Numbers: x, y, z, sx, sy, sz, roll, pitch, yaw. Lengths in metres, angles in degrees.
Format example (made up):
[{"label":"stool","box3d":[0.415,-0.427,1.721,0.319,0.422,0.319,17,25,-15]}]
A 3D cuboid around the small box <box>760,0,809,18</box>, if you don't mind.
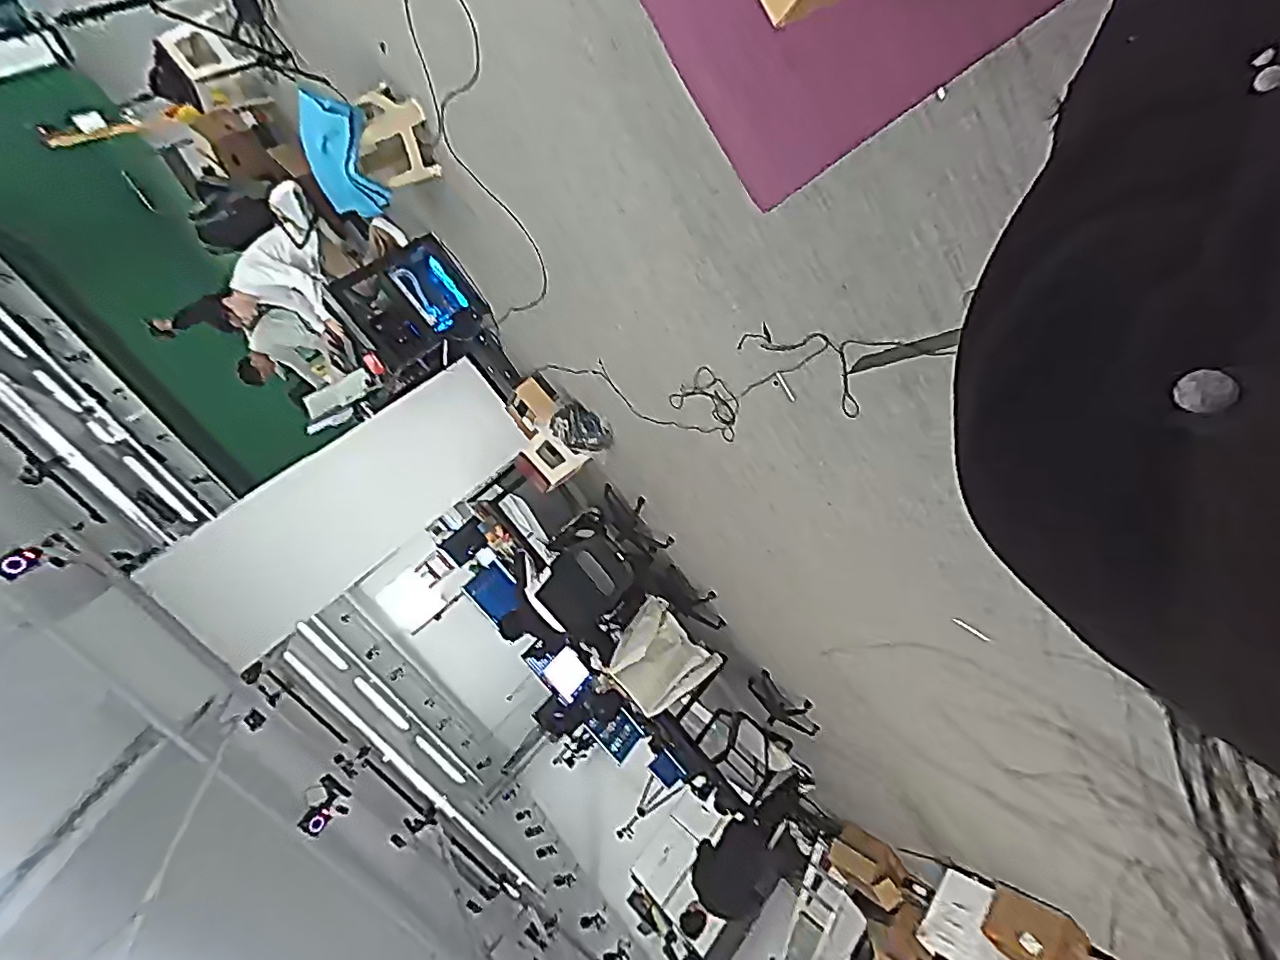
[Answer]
[{"label":"small box","box3d":[0.174,-0.576,0.474,0.168,0.176,0.179,53,155,-12]}]
